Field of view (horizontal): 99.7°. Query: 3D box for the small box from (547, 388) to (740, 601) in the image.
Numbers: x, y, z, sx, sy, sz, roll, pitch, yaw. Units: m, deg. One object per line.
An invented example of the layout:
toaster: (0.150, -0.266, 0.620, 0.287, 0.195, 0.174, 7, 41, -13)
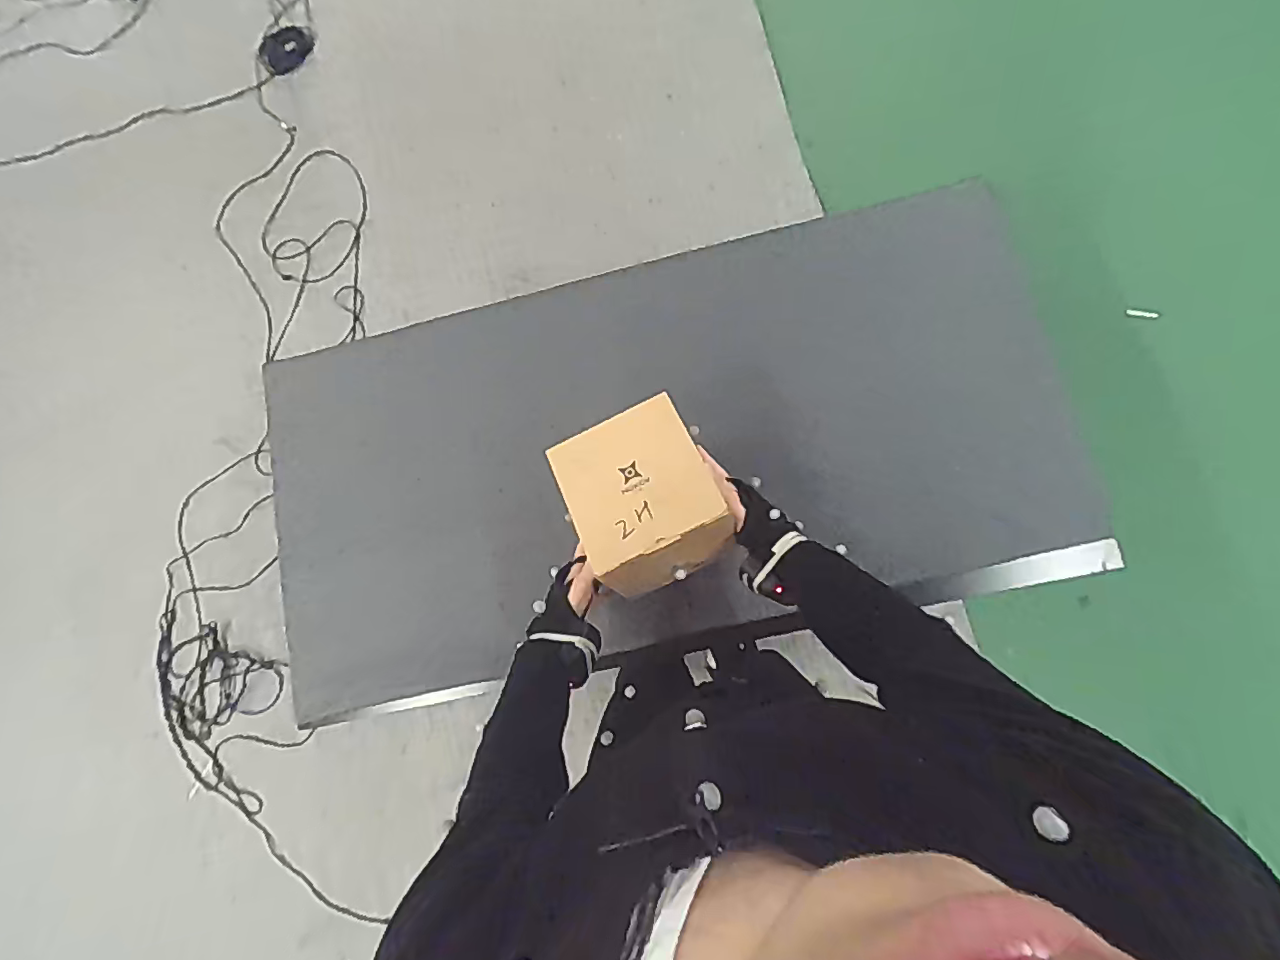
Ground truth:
small box: (0.011, 0.027, 0.668, 0.168, 0.176, 0.179, -27, 63, 1)
